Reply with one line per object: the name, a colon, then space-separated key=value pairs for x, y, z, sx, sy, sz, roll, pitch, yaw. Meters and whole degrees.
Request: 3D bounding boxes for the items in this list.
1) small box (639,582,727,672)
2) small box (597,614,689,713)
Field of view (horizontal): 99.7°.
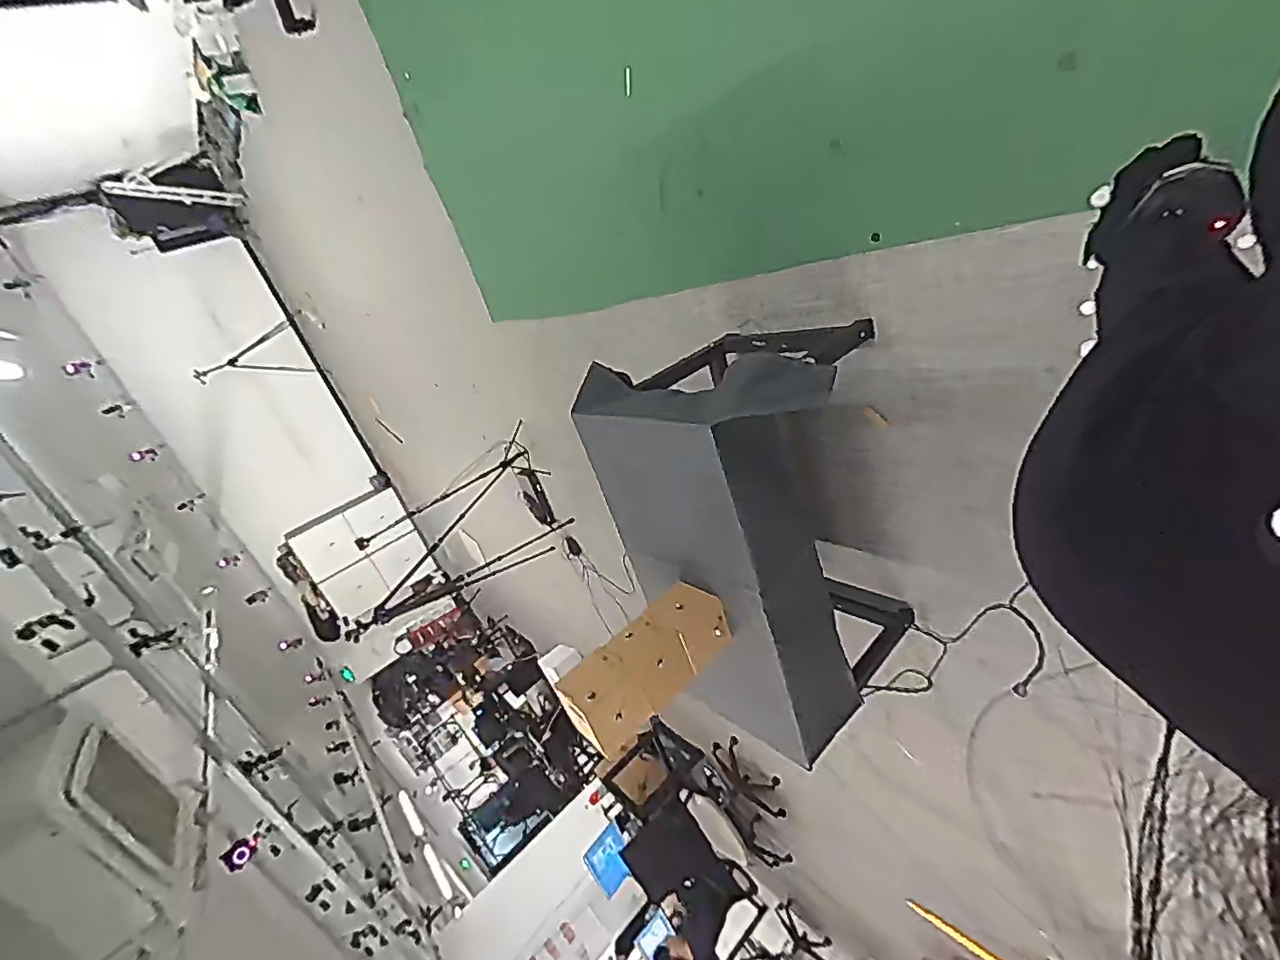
small box: x=0.130 y=0.430 z=1.613 sx=0.179 sy=0.176 sz=0.168 roll=13 pitch=130 yaw=50
small box: x=0.011 y=0.511 z=1.537 sx=0.168 sy=0.176 sz=0.179 roll=12 pitch=128 yaw=53
